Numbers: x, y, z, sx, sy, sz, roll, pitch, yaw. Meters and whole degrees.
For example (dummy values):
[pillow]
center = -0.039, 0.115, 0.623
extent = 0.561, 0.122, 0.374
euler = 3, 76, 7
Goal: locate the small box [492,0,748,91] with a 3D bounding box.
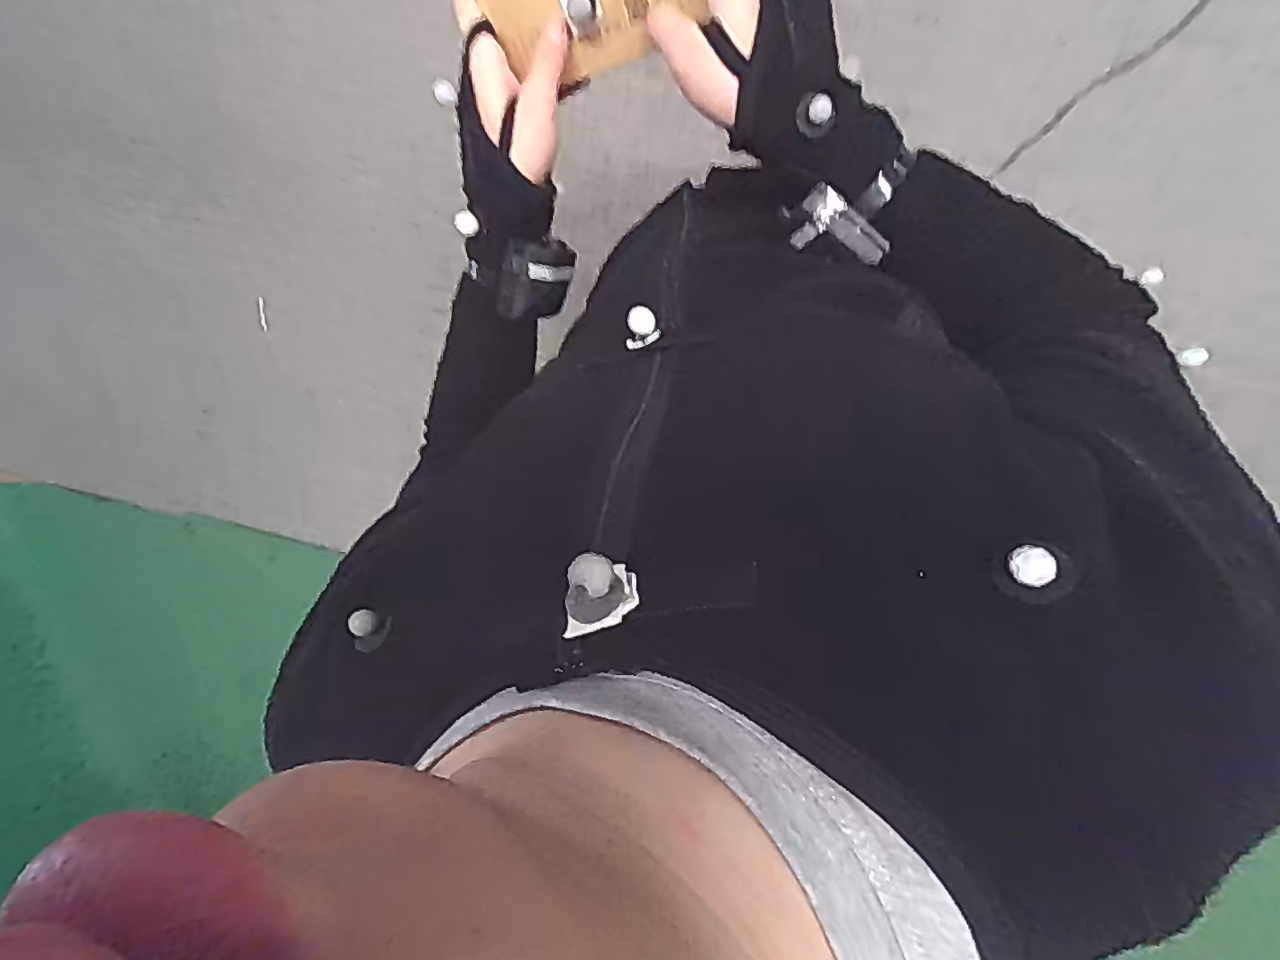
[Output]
[small box]
center = -0.017, -0.395, 0.360
extent = 0.168, 0.179, 0.176
euler = -5, 137, 23
